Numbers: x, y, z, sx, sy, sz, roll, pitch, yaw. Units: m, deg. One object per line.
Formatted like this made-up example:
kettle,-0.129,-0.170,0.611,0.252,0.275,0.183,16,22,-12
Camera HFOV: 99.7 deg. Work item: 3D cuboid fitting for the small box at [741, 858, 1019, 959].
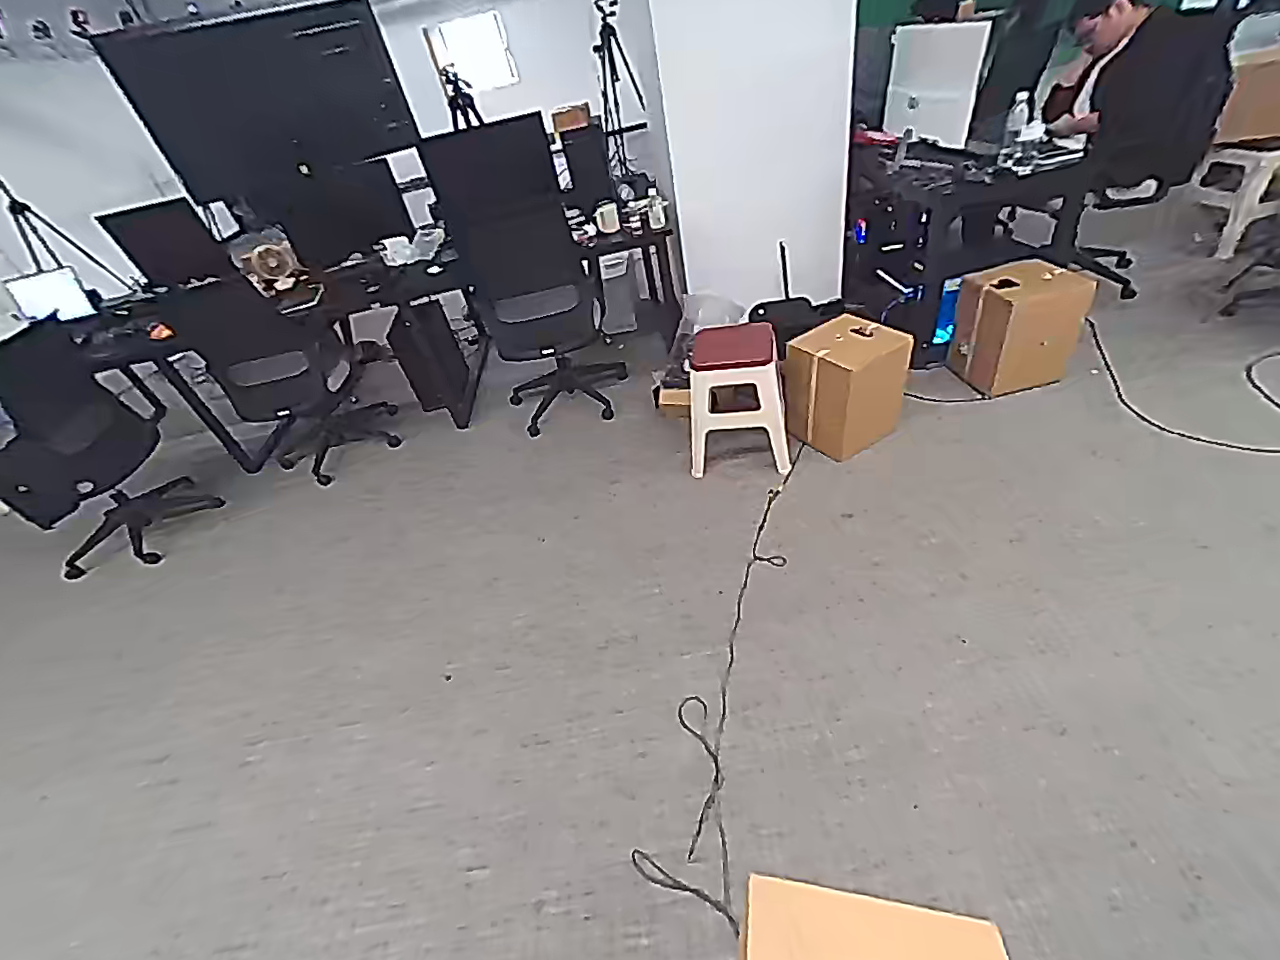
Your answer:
small box,0.147,0.392,0.344,0.168,0.176,0.179,4,32,11
